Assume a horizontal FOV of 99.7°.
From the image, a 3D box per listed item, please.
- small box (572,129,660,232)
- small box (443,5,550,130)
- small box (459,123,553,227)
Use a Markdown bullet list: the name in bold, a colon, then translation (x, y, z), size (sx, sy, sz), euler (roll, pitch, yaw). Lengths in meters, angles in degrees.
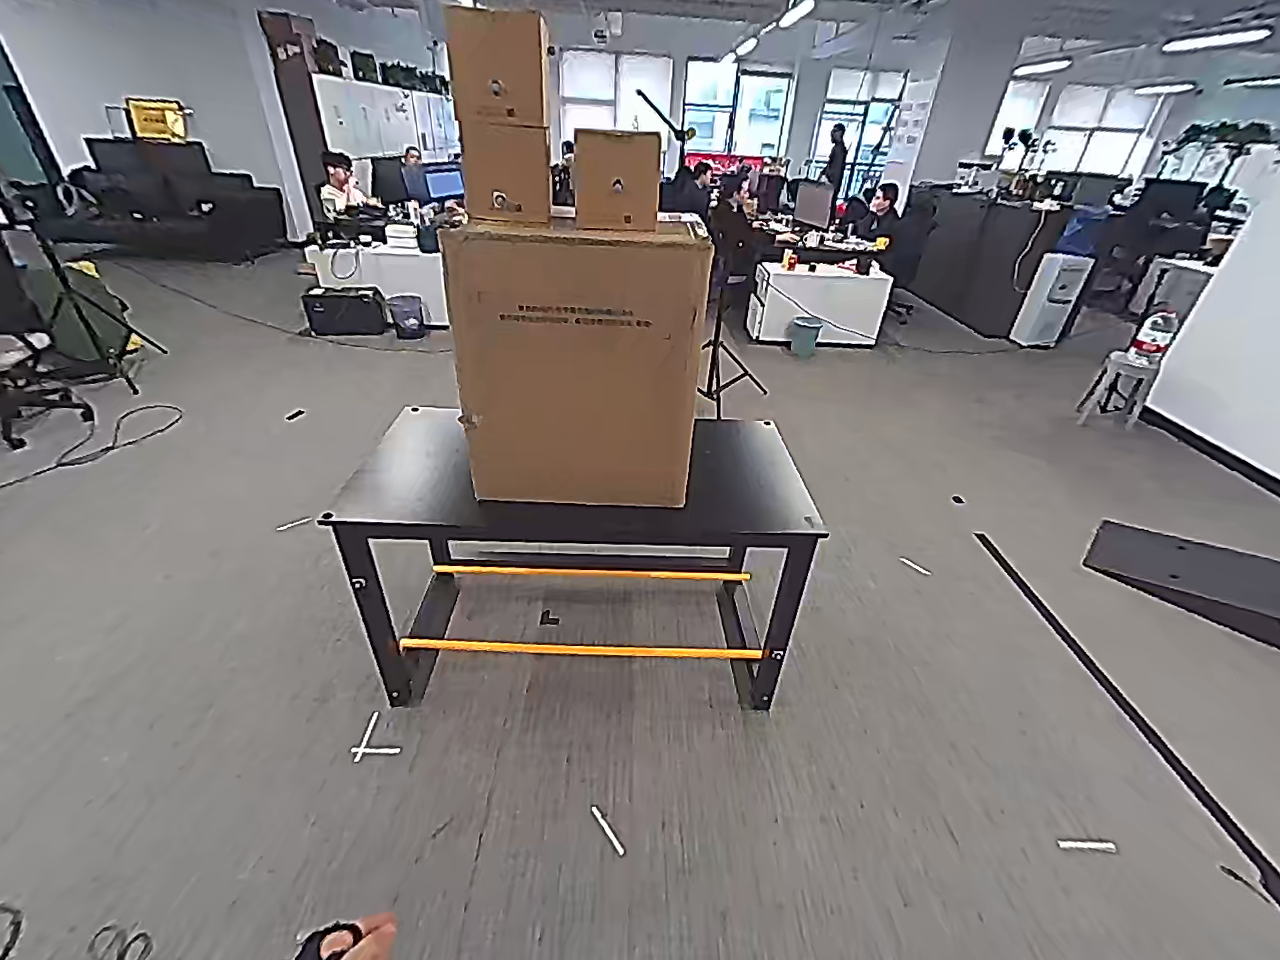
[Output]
- **small box**: translation (-0.052, -0.609, 1.101), size (0.168, 0.176, 0.179), euler (-1, 35, -6)
- **small box**: translation (-0.261, -0.769, 1.026), size (0.168, 0.176, 0.179), euler (0, 34, -5)
- **small box**: translation (-0.269, -0.633, 1.118), size (0.168, 0.176, 0.179), euler (-1, 35, -7)
